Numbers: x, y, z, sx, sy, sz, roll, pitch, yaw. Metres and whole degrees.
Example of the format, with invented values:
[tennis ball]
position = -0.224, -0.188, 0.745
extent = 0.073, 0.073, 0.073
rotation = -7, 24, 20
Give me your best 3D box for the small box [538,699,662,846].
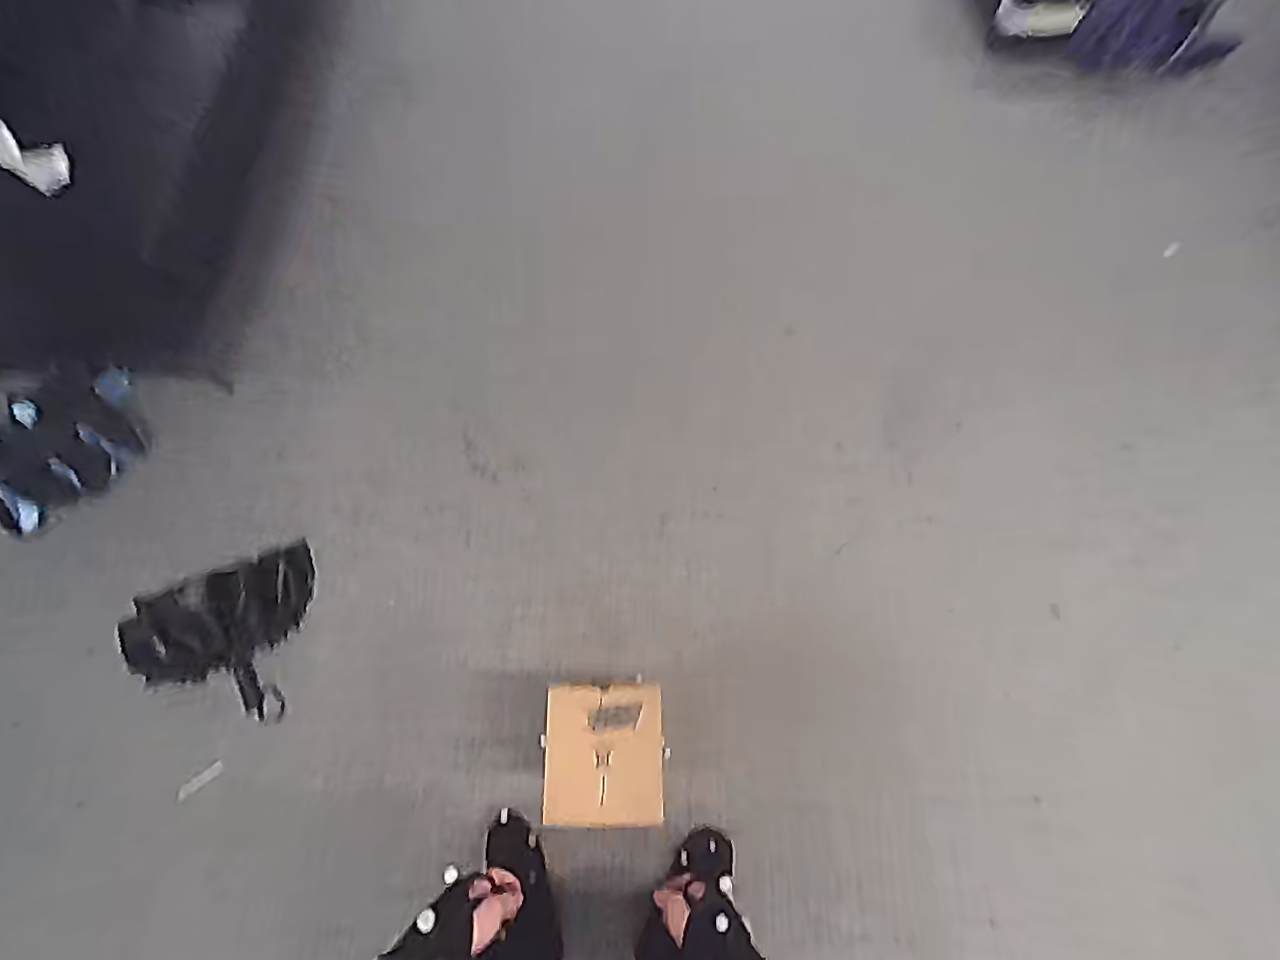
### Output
[small box]
position = -0.054, 0.424, 0.811
extent = 0.168, 0.176, 0.179
rotation = -1, 71, 0
